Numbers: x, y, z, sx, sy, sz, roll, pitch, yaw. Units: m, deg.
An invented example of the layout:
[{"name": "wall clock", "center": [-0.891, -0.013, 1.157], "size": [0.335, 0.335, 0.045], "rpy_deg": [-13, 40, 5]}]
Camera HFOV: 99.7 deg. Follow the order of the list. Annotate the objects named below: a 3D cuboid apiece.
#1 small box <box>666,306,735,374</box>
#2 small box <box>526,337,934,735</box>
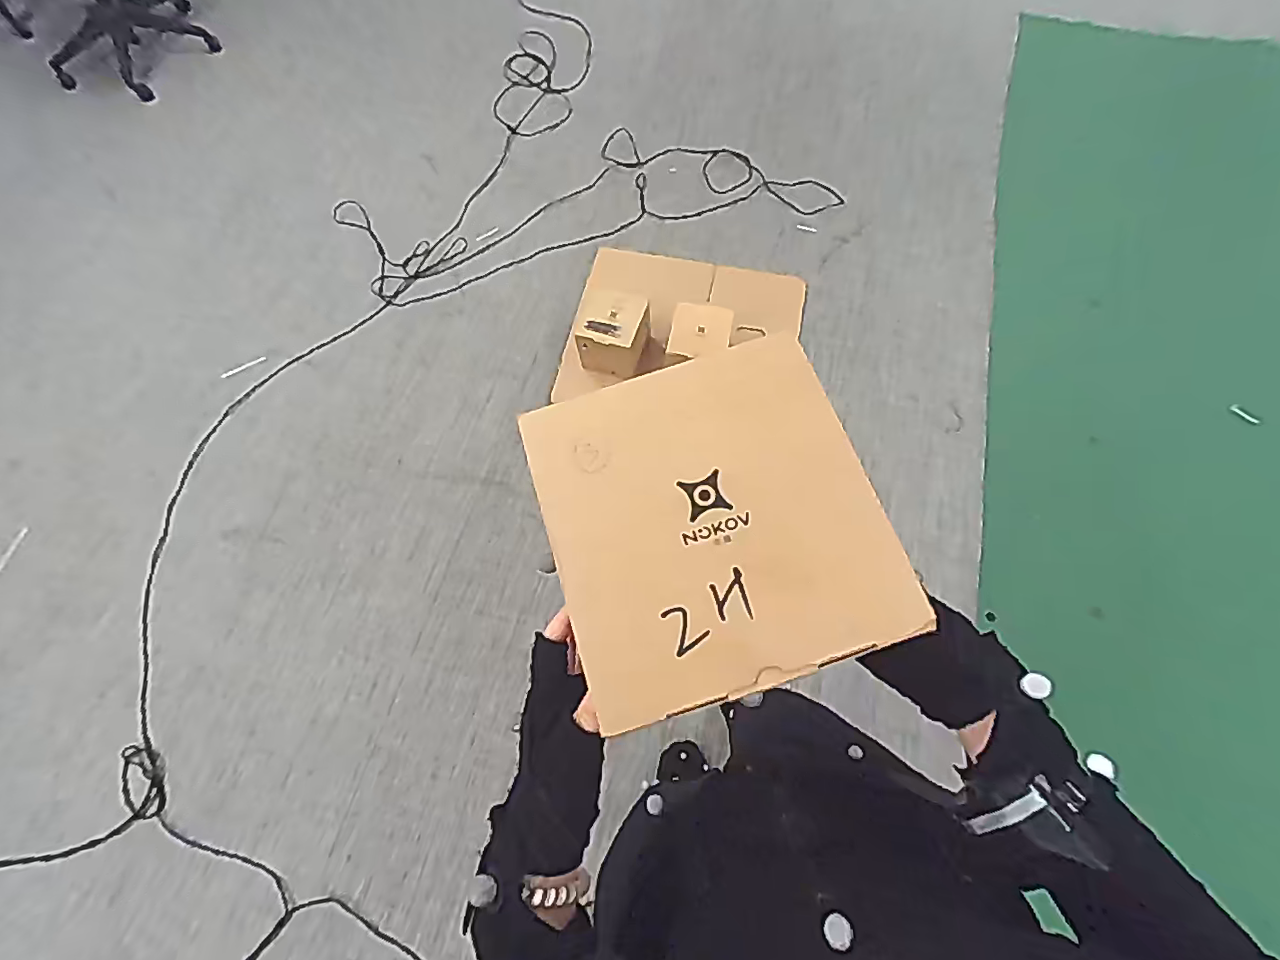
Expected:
[{"name": "small box", "center": [0.169, -0.369, 1.561], "size": [0.168, 0.176, 0.179], "rpy_deg": [10, 70, 5]}, {"name": "small box", "center": [0.042, 0.044, 0.353], "size": [0.168, 0.176, 0.179], "rpy_deg": [-18, 71, -2]}]
